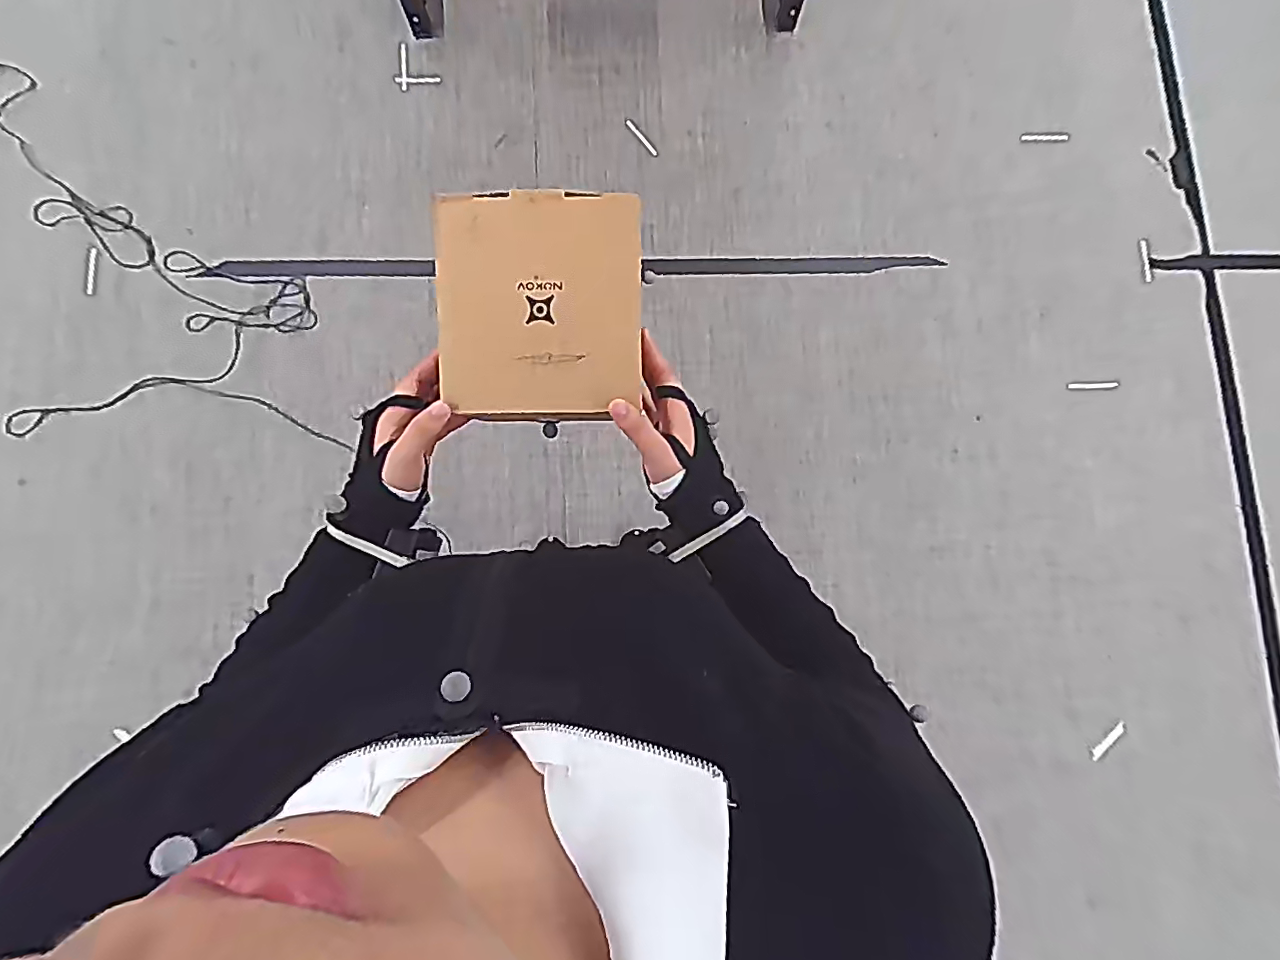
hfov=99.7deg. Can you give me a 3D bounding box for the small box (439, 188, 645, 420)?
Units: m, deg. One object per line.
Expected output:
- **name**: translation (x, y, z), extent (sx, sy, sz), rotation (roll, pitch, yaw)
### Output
- **small box**: translation (-0.081, -0.150, 0.515), extent (0.168, 0.176, 0.179), rotation (-1, 94, -1)
